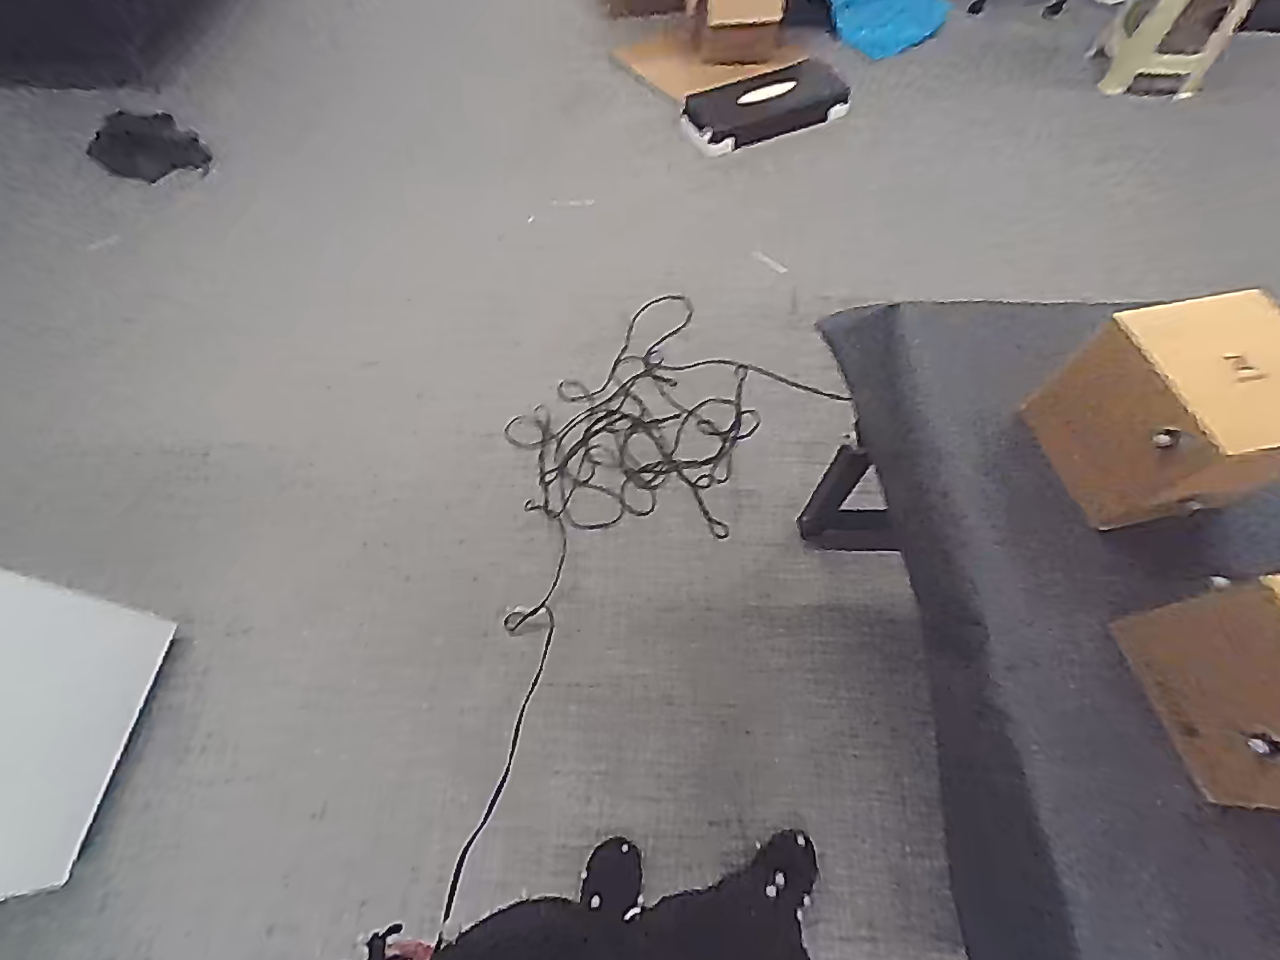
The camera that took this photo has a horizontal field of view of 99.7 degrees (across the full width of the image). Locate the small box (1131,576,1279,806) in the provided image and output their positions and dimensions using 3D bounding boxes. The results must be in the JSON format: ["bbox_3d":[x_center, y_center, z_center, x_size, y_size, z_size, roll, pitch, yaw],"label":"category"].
[{"bbox_3d":[0.584,0.173,0.460,0.179,0.176,0.168,-8,63,-4],"label":"small box"}]

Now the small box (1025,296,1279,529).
[{"bbox_3d":[0.576,-0.067,0.588,0.168,0.176,0.179,-10,63,-5],"label":"small box"}]
